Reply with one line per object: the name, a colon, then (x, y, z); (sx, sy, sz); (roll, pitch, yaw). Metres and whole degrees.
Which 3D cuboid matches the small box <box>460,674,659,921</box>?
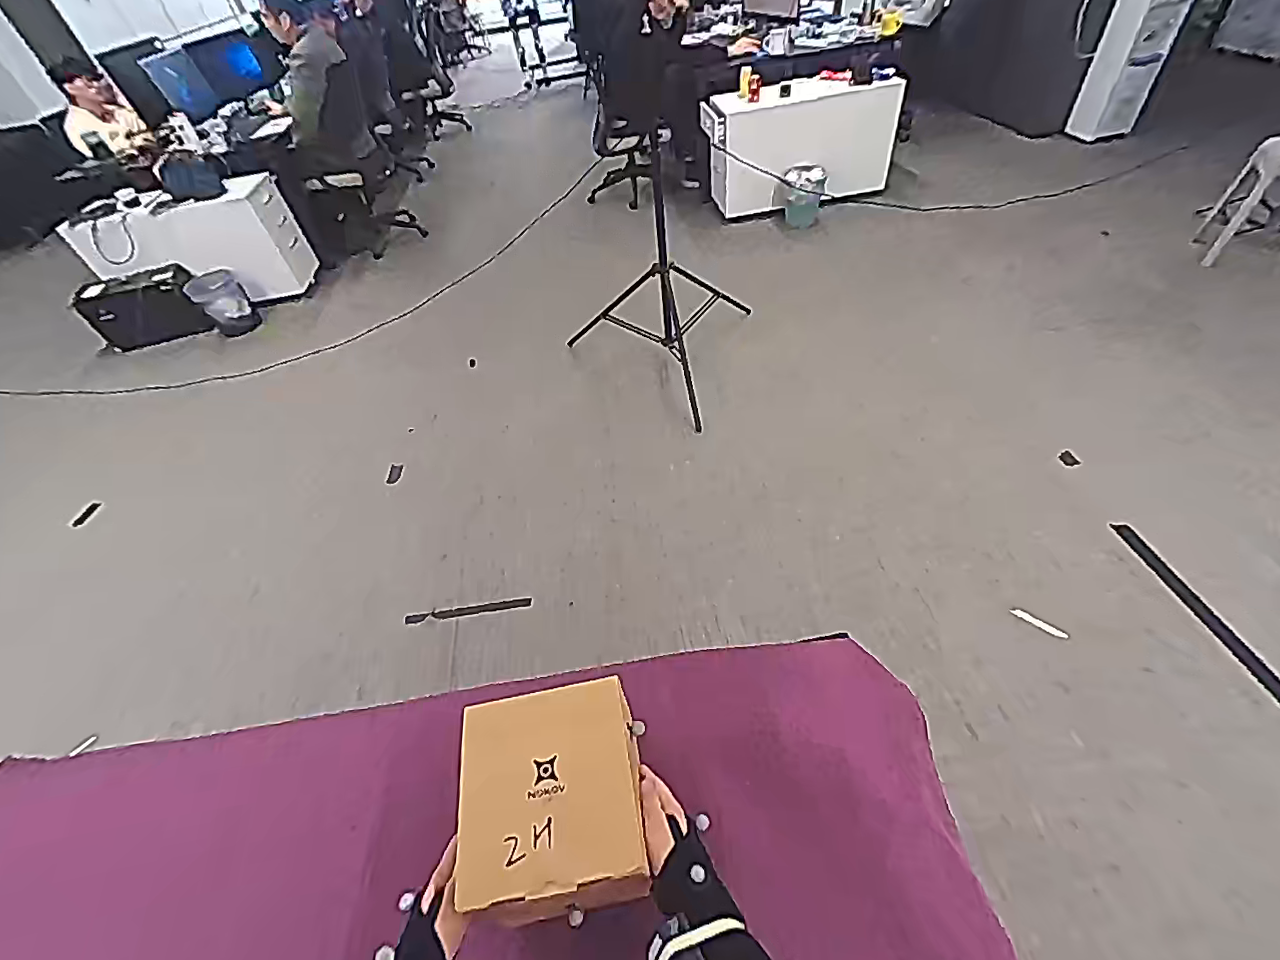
small box: (-0.078, 0.337, 0.573); (0.168, 0.176, 0.179); (-12, 48, -2)
